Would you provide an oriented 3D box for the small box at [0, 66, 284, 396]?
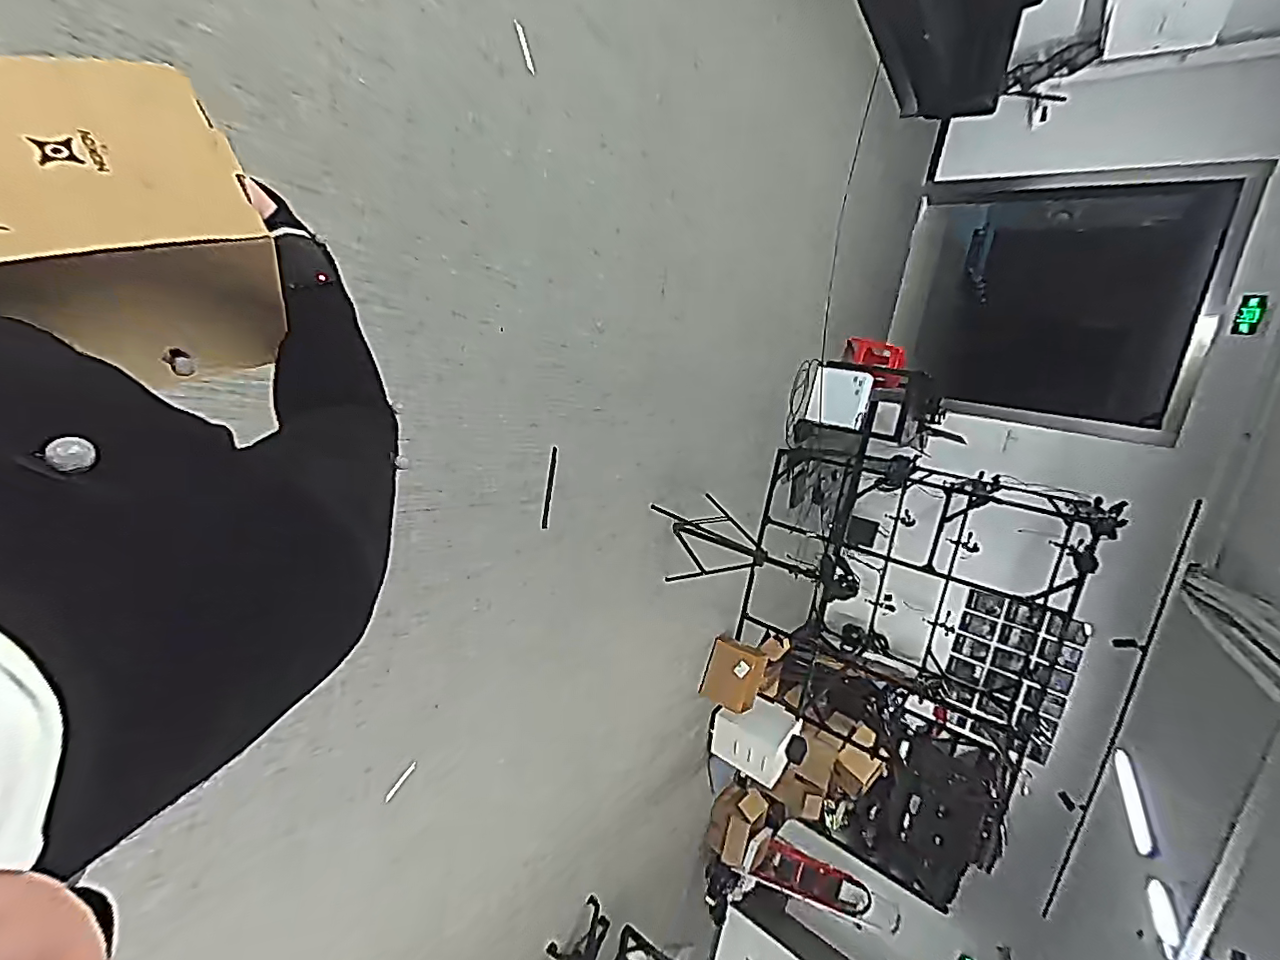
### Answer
[{"bbox_3d":[-0.422,-0.195,0.448,0.179,0.176,0.168,-26,81,-34],"label":"small box"}]
